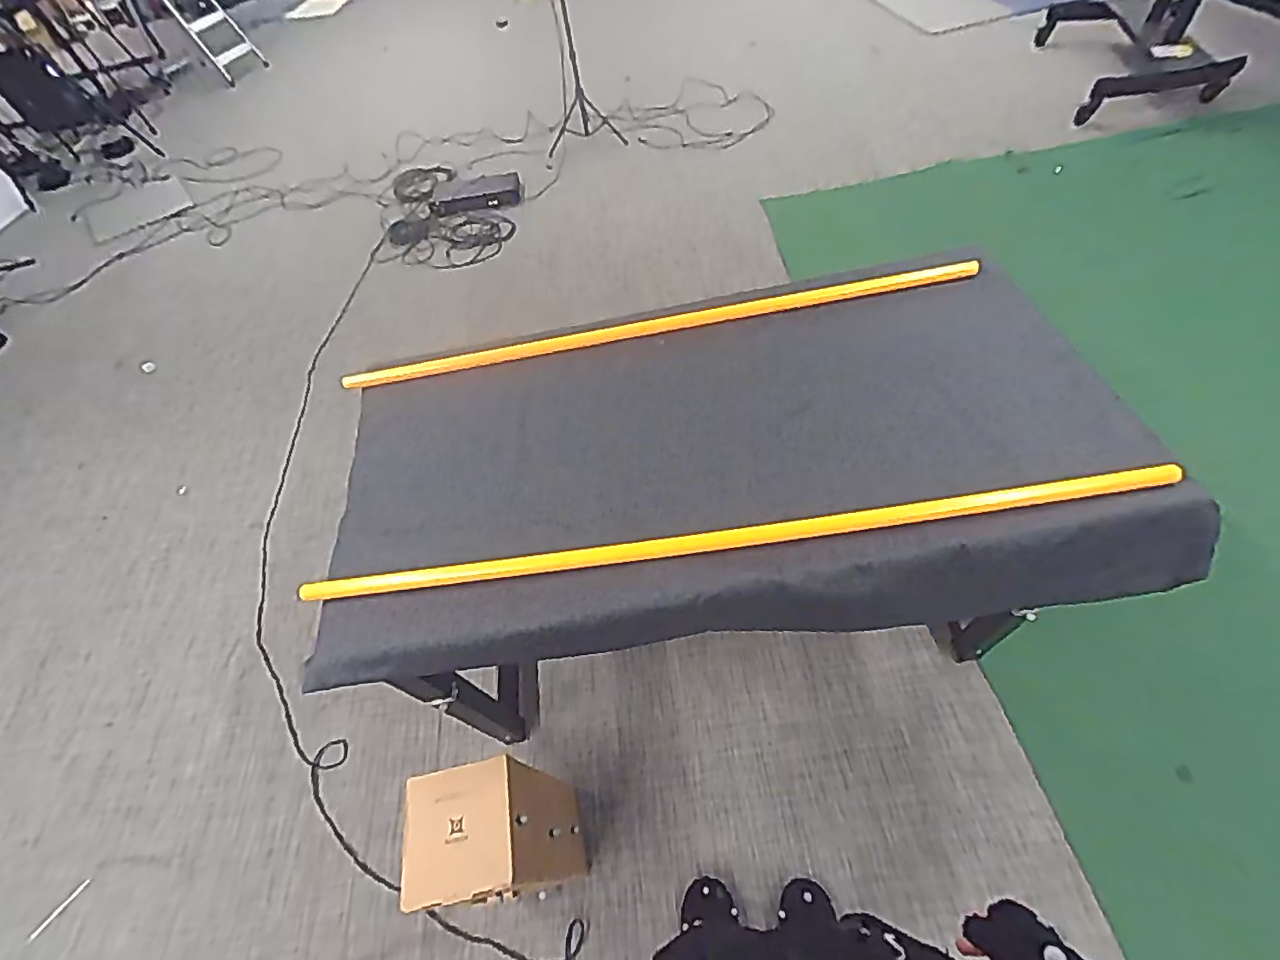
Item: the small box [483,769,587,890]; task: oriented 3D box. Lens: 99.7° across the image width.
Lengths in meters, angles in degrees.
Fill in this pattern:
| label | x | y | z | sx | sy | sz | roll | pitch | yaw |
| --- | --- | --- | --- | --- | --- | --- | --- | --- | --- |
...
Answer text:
| label | x | y | z | sx | sy | sz | roll | pitch | yaw |
| --- | --- | --- | --- | --- | --- | --- | --- | --- | --- |
| small box | -0.221 | 0.744 | 1.152 | 0.168 | 0.176 | 0.179 | -16 | 56 | -2 |
